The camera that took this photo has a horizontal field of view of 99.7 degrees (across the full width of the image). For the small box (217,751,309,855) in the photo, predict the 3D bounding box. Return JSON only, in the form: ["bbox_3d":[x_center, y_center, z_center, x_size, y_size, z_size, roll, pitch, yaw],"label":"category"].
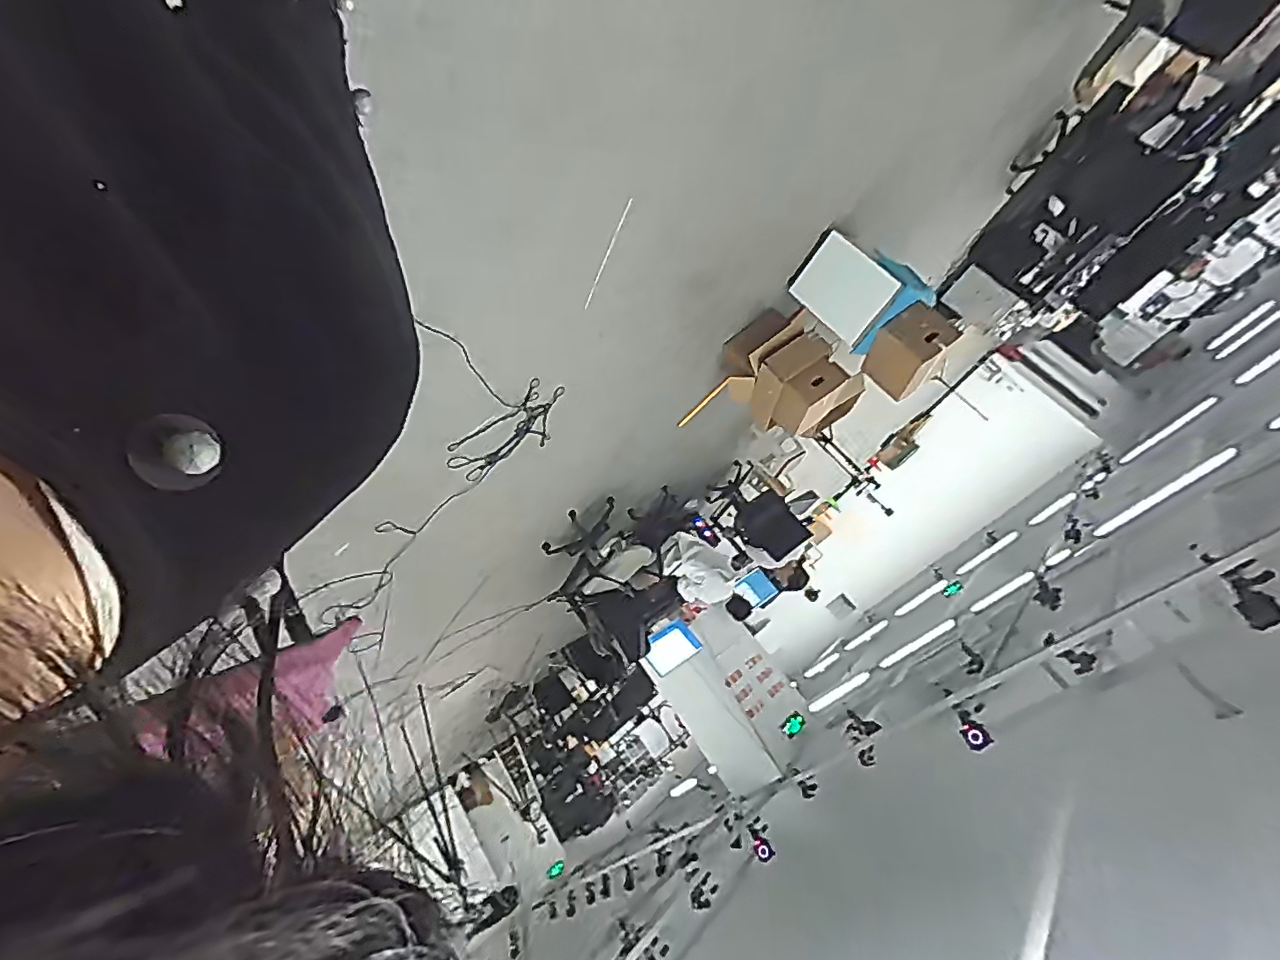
[{"bbox_3d":[-1.071,0.913,1.536,0.179,0.176,0.168,-22,153,-40],"label":"small box"}]

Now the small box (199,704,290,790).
[{"bbox_3d":[-1.165,0.797,1.598,0.179,0.176,0.168,-19,151,-41],"label":"small box"}]
